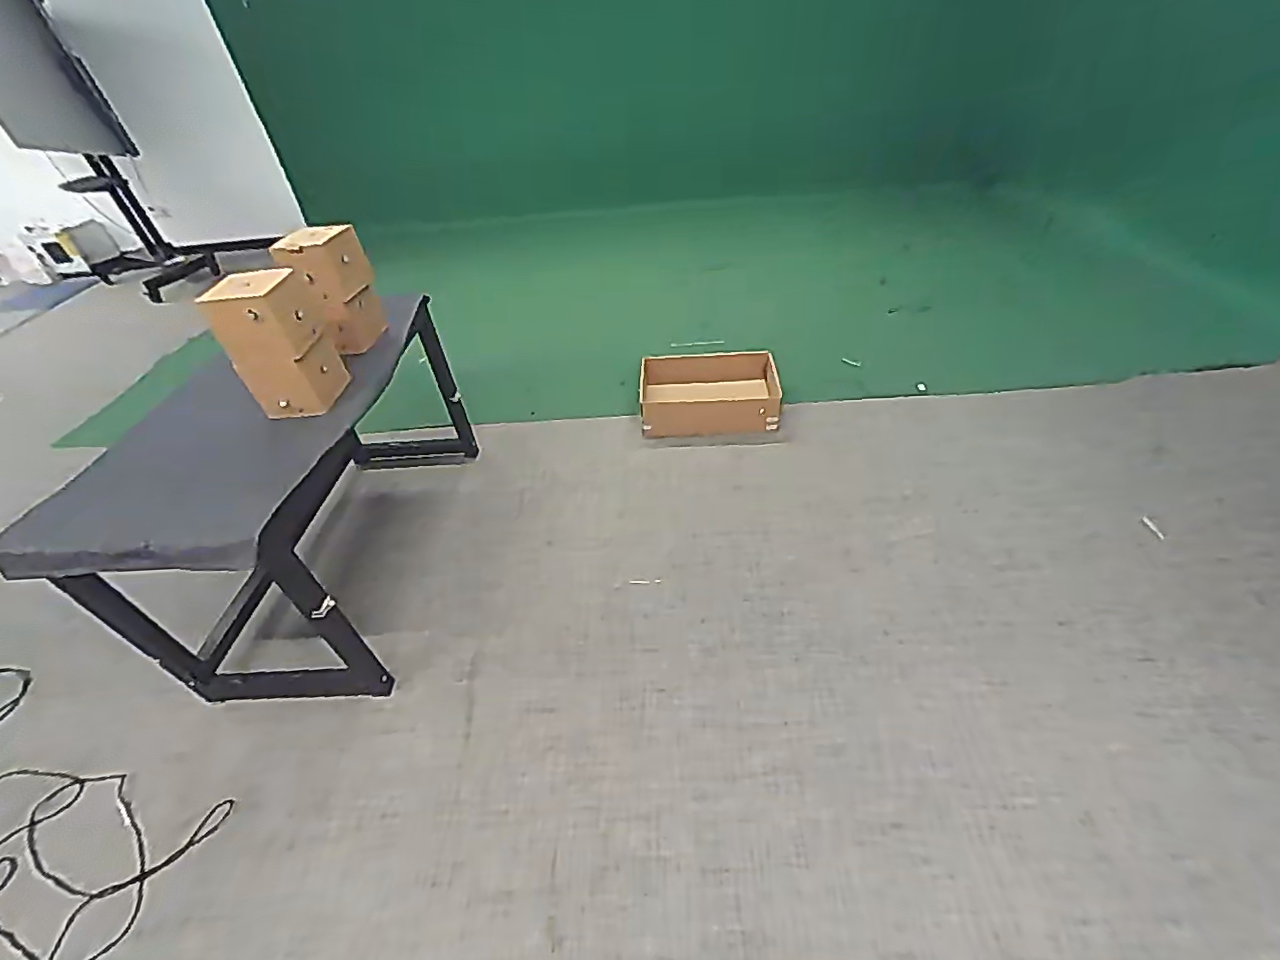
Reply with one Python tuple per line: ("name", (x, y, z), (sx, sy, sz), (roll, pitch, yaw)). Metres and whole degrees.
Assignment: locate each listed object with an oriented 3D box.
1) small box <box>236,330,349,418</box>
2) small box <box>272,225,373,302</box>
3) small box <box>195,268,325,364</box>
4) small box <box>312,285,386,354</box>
("small box", (-0.923, -0.287, 1.462), (0.168, 0.176, 0.179), (-4, 43, 5))
("small box", (-0.936, -0.642, 1.614), (0.168, 0.176, 0.179), (1, 43, 8))
("small box", (-0.931, -0.407, 1.349), (0.179, 0.176, 0.168), (-5, 42, 4))
("small box", (-0.939, -0.512, 1.716), (0.168, 0.176, 0.179), (-1, 41, 6))
